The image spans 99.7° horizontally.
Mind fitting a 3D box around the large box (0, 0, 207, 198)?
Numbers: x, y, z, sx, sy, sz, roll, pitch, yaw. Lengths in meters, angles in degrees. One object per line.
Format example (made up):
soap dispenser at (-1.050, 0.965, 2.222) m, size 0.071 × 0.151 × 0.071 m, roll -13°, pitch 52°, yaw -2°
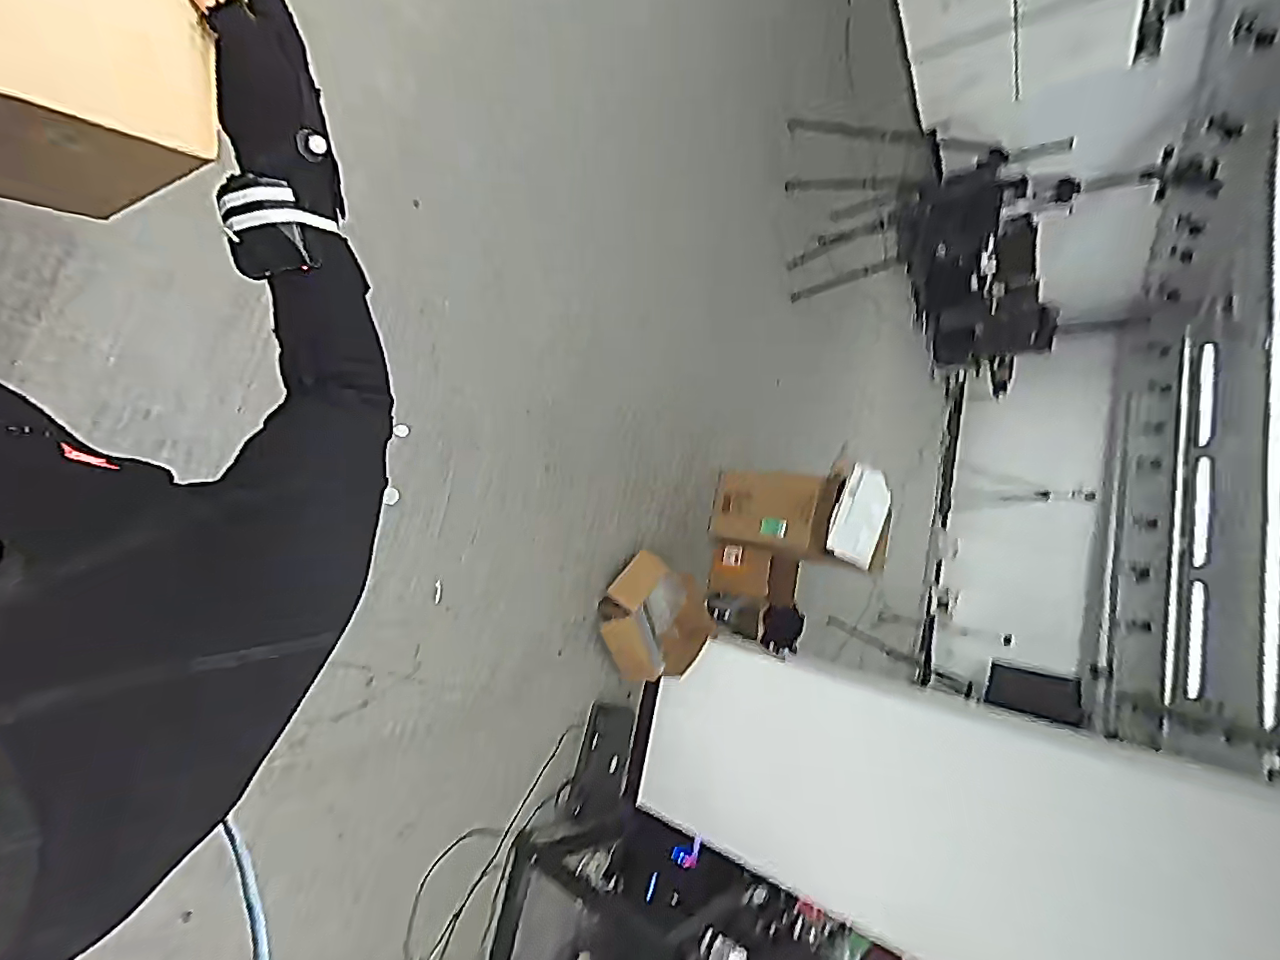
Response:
large box at (-0.549, -0.396, 0.293) m, size 0.408 × 0.320 × 0.320 m, roll -11°, pitch 107°, yaw -55°
